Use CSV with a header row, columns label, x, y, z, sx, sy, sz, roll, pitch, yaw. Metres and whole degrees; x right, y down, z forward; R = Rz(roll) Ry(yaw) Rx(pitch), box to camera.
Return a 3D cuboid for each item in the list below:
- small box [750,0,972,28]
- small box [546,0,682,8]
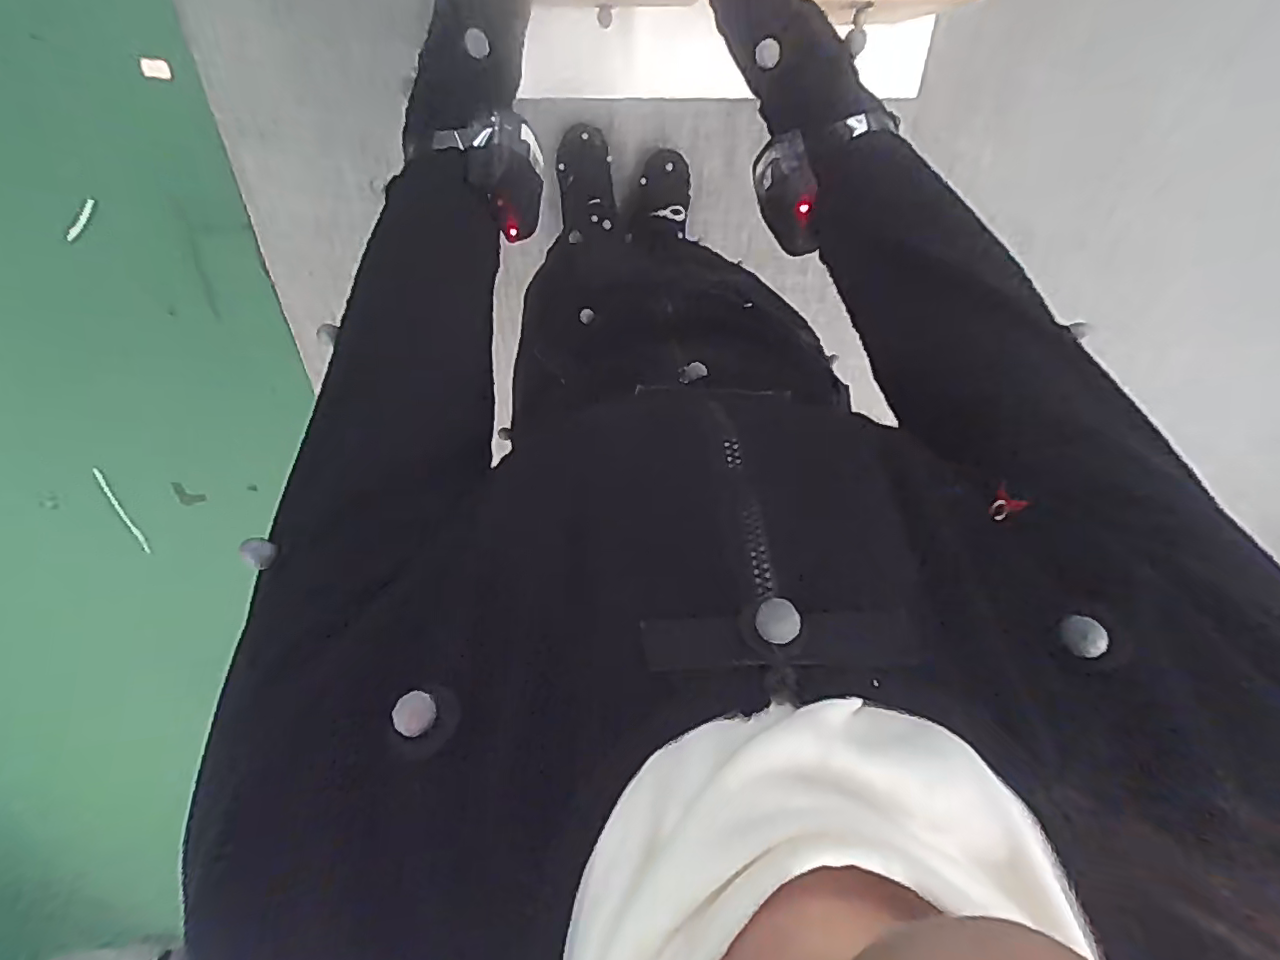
label,x,y,z,sx,sy,sz,roll,pitch,yaw
small box,0.197,-0.509,0.458,0.168,0.176,0.179,-3,125,-3
small box,-0.021,-0.503,0.430,0.168,0.176,0.179,-5,127,-1
